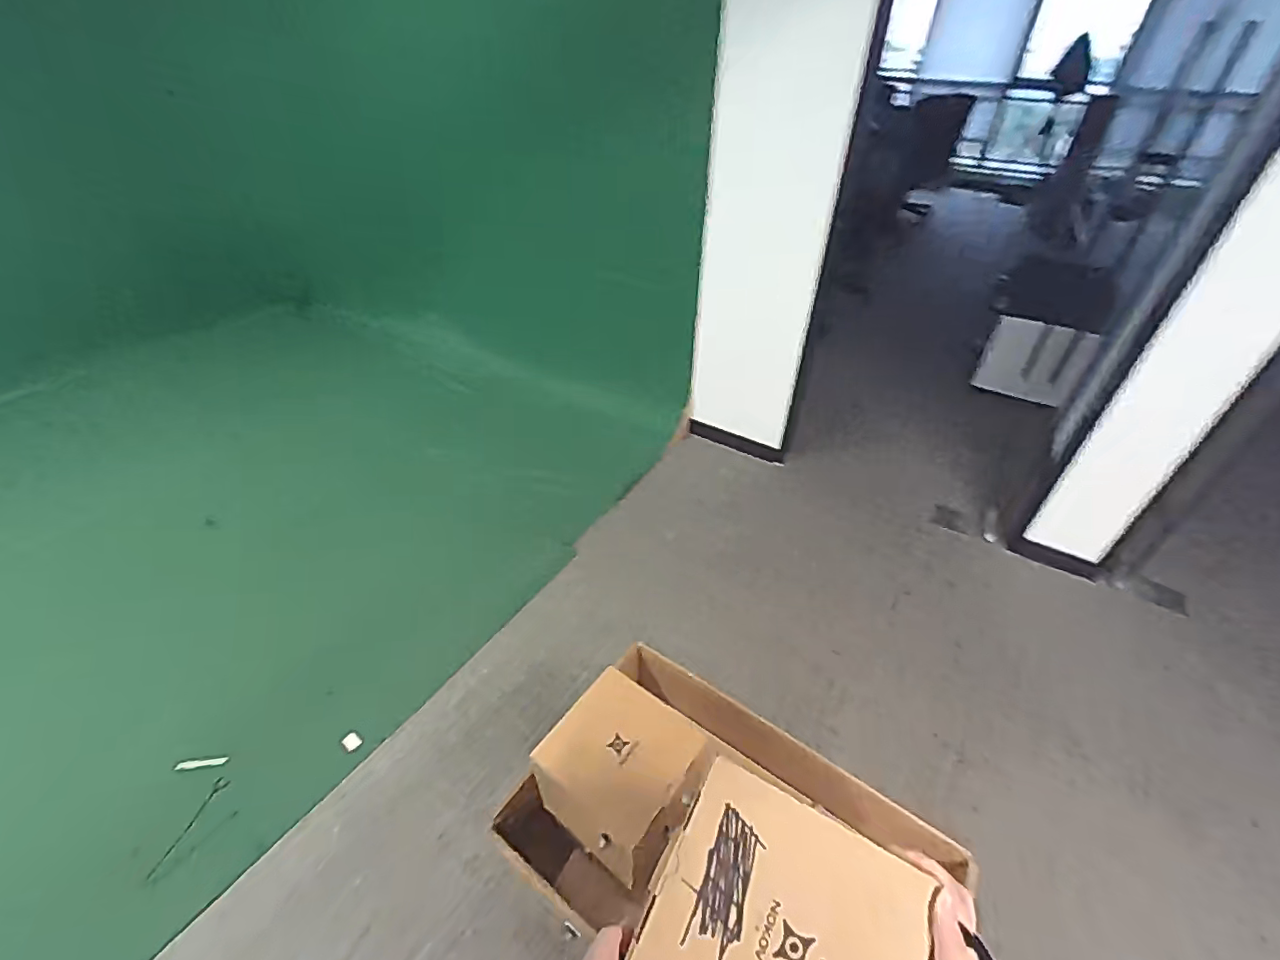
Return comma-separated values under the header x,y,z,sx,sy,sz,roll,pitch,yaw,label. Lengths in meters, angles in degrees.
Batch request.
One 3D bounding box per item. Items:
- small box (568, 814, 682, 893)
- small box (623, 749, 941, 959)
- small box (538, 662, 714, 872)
x,y,z,sx,sy,sz,roll,pitch,yaw,label
-0.008,0.519,0.874,0.179,0.176,0.168,27,48,27,small box
0.102,0.350,0.433,0.179,0.176,0.168,22,61,18,small box
-0.018,0.403,0.760,0.179,0.176,0.168,28,48,27,small box
